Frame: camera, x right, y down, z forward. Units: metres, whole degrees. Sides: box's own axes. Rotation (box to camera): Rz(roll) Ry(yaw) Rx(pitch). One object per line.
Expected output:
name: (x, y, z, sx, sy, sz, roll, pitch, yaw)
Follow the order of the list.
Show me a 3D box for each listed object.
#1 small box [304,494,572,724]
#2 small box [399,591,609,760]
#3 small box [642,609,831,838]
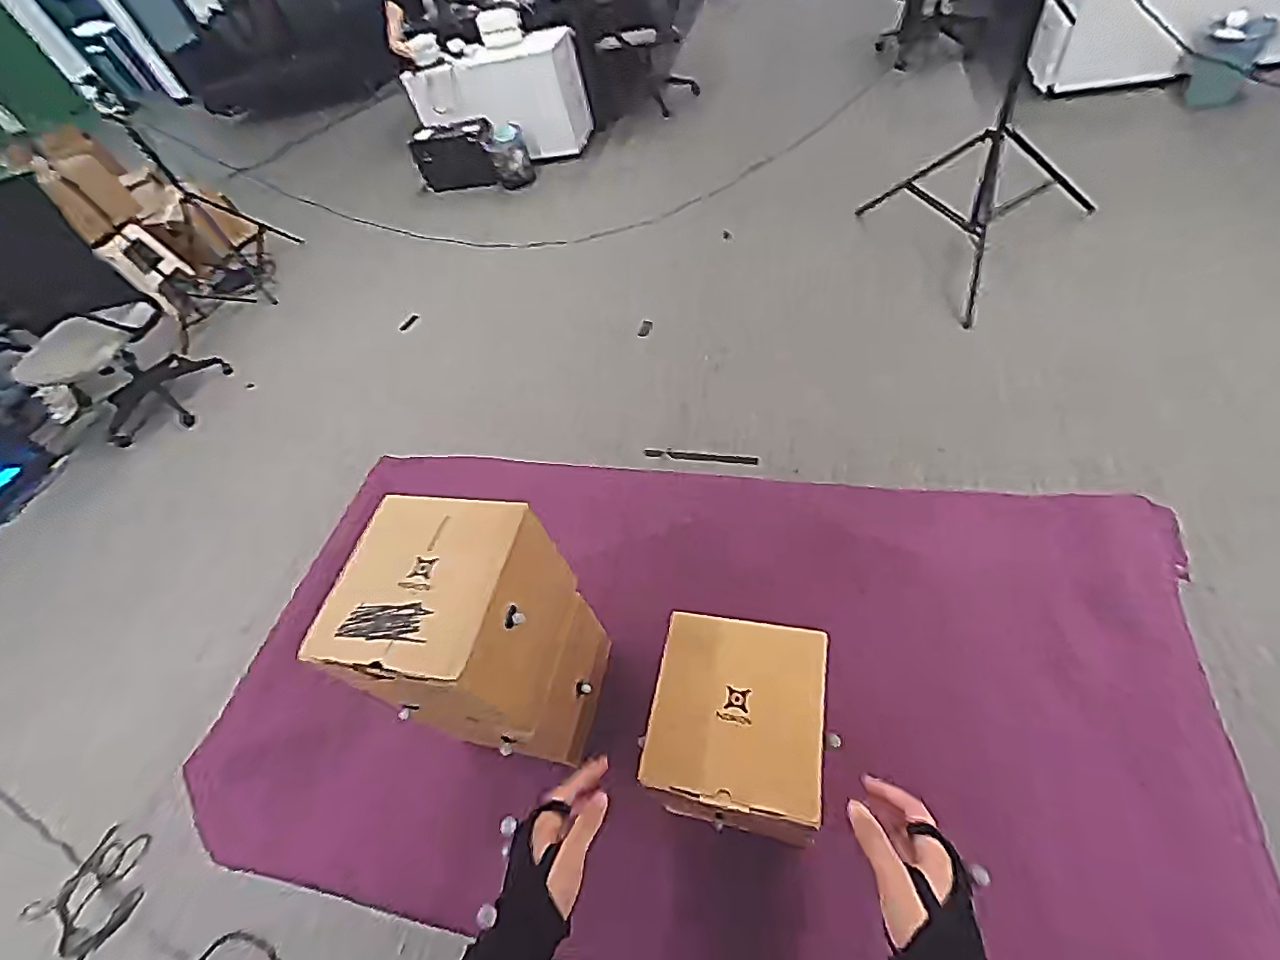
small box: (-0.185, 0.135, 0.558, 0.168, 0.176, 0.179, 3, 54, 16)
small box: (-0.153, 0.239, 0.682, 0.179, 0.176, 0.168, 4, 54, 17)
small box: (0.113, 0.266, 0.592, 0.168, 0.176, 0.179, 4, 54, 17)
